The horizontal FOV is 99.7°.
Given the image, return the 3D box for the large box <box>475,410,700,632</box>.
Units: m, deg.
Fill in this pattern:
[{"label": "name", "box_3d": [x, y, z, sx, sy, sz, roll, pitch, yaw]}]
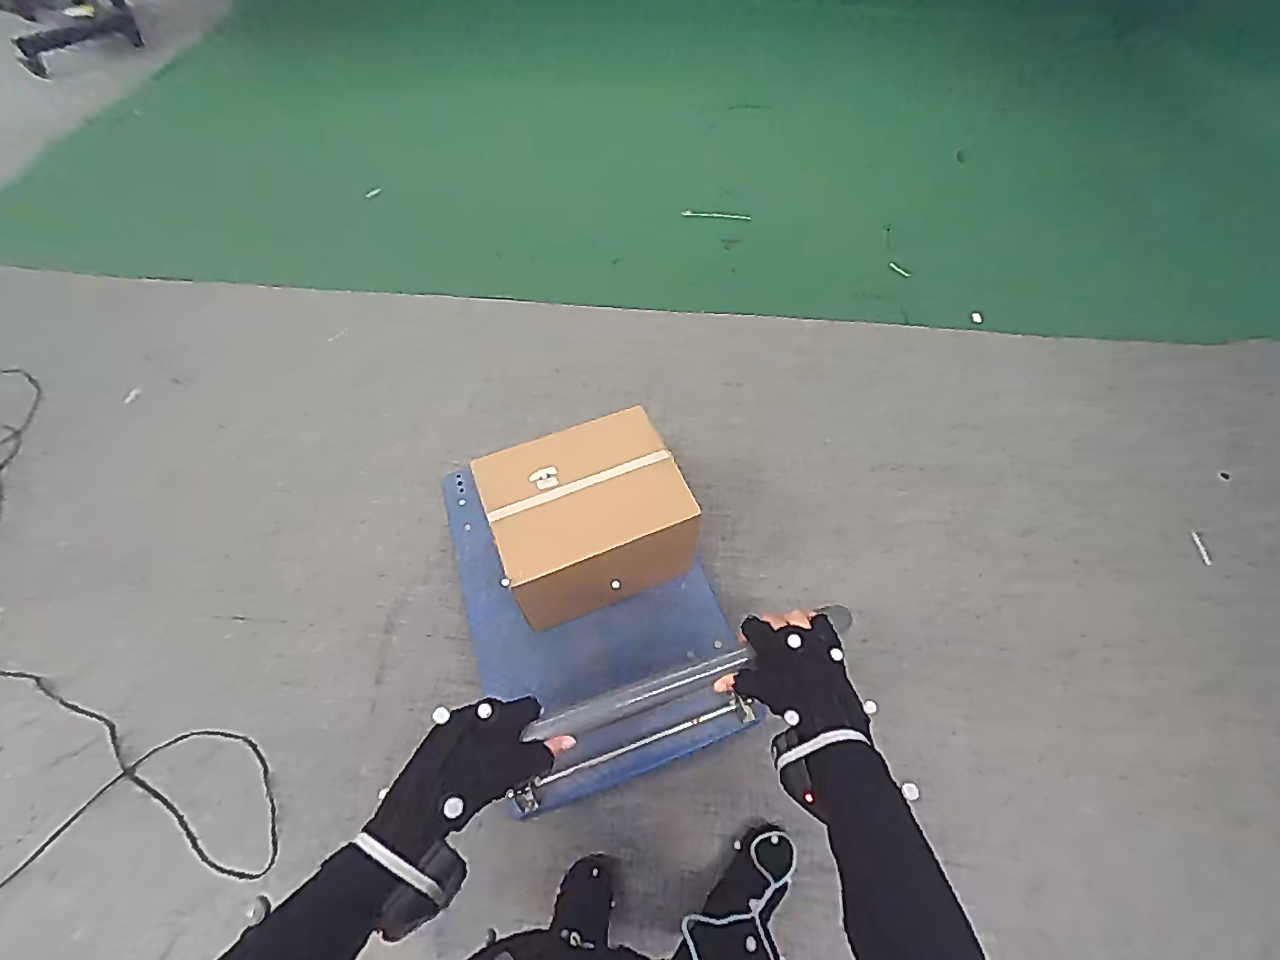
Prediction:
[{"label": "large box", "box_3d": [-0.114, 0.103, 1.270, 0.408, 0.320, 0.320, -22, 60, -12]}]
